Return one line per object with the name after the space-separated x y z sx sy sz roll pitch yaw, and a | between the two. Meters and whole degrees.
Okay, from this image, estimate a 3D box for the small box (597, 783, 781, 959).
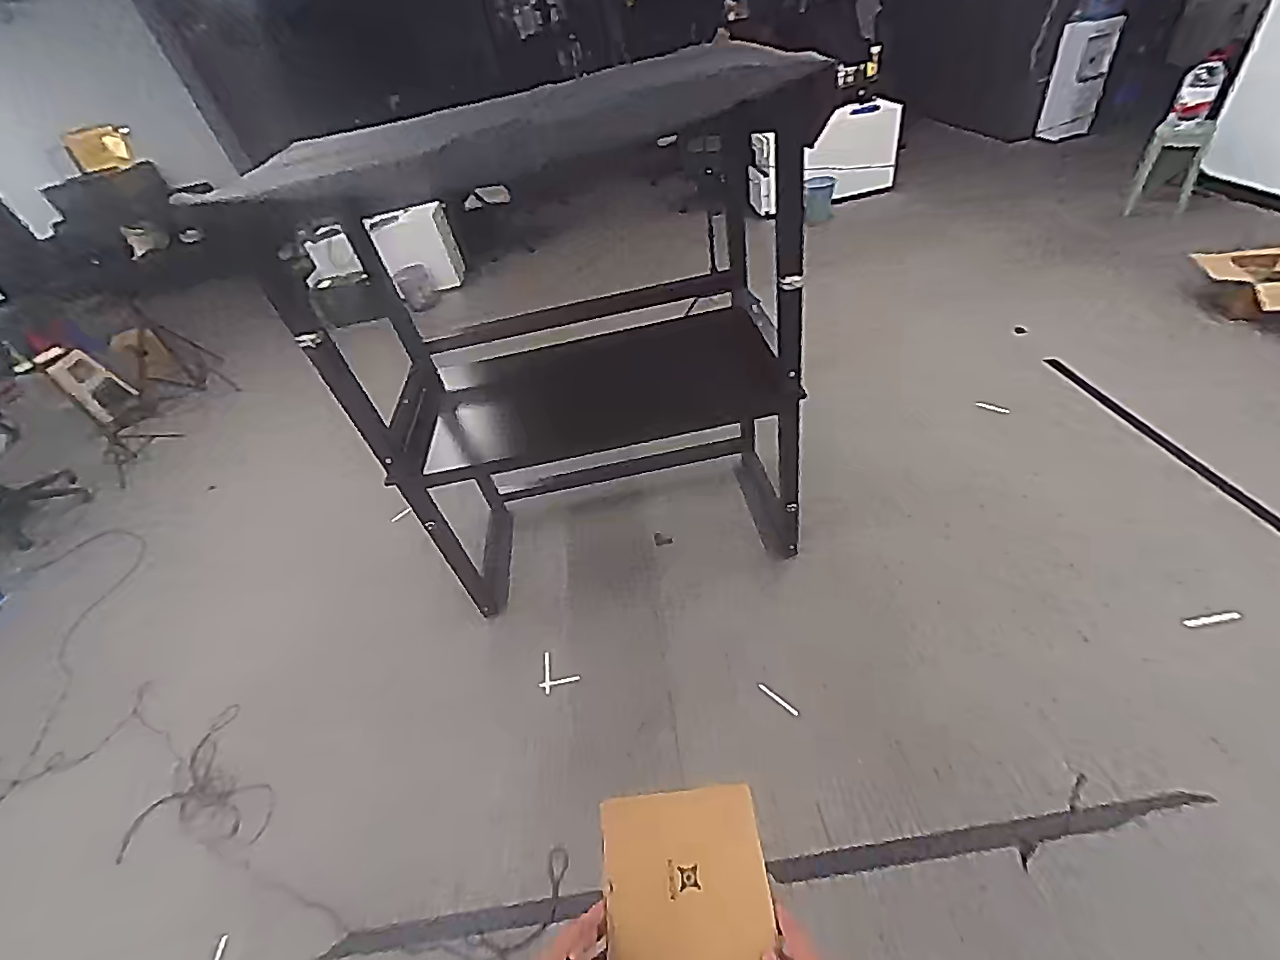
0.049 0.476 0.633 0.179 0.176 0.168 -7 47 -1 | small box
